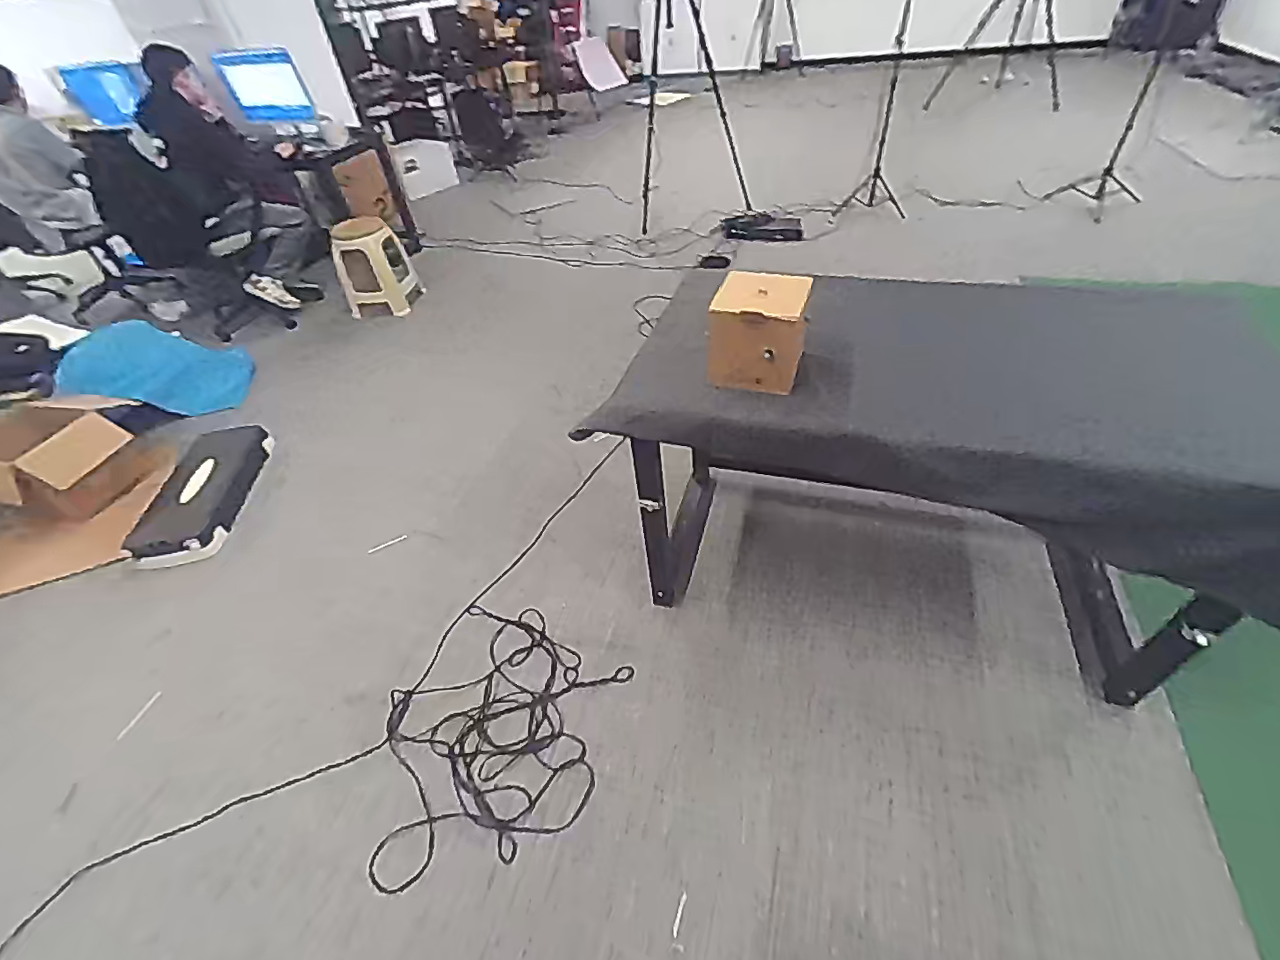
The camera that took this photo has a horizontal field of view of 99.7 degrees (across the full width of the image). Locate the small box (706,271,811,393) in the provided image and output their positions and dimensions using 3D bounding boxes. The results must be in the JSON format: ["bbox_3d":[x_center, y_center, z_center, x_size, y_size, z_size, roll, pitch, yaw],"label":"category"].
[{"bbox_3d":[0.232,-0.293,1.066,0.168,0.176,0.179,12,45,17],"label":"small box"}]
